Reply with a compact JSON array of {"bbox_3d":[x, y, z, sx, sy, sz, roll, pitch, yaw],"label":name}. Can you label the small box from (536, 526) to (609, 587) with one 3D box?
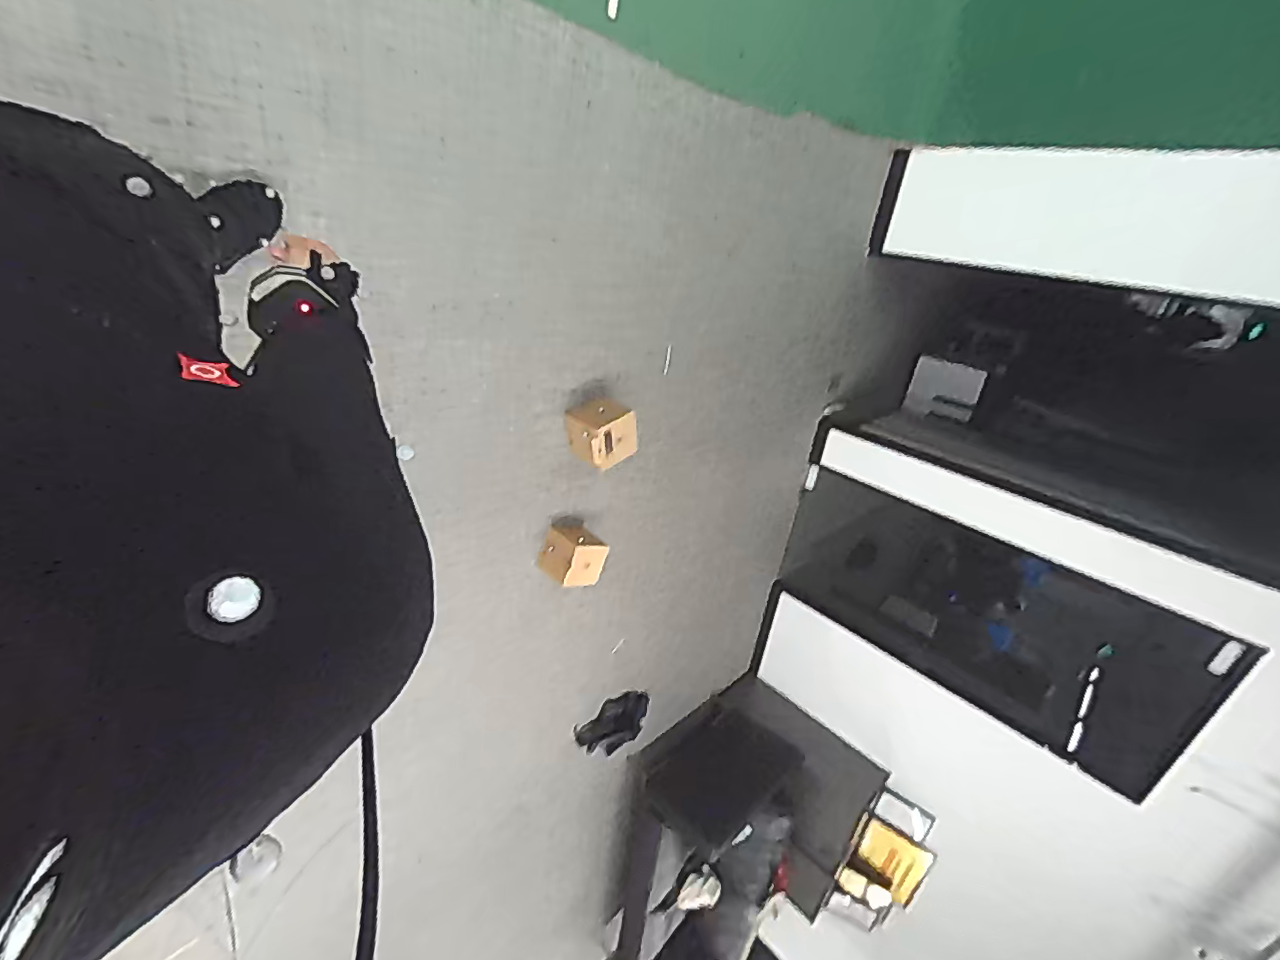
[{"bbox_3d":[-0.254,0.281,2.008,0.179,0.176,0.168,8,108,-50],"label":"small box"}]
